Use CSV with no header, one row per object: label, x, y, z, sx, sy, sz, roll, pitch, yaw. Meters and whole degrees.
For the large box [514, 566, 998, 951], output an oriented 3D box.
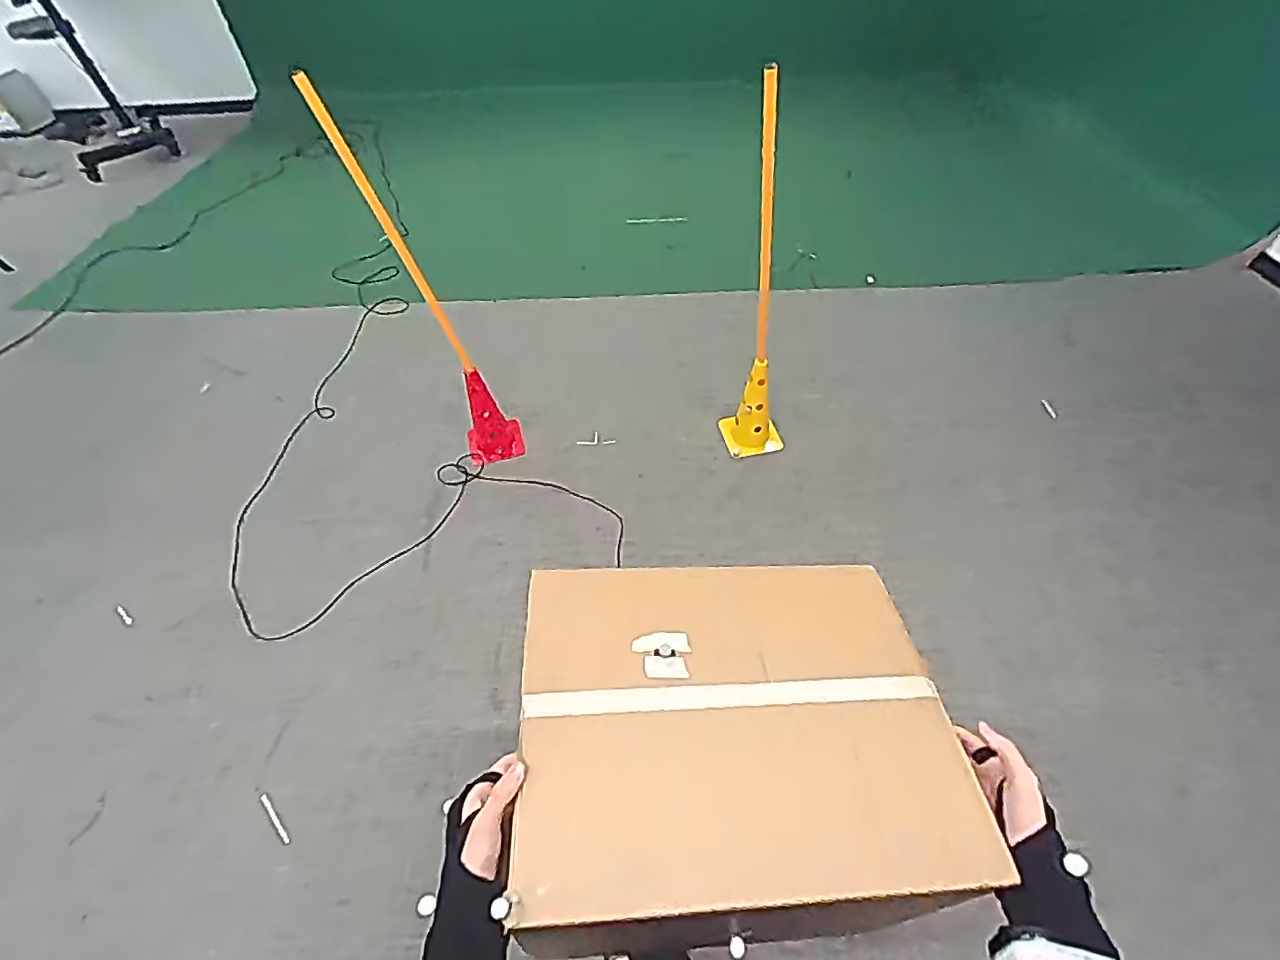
large box,0.081,0.321,0.633,0.408,0.320,0.320,-1,45,-6
